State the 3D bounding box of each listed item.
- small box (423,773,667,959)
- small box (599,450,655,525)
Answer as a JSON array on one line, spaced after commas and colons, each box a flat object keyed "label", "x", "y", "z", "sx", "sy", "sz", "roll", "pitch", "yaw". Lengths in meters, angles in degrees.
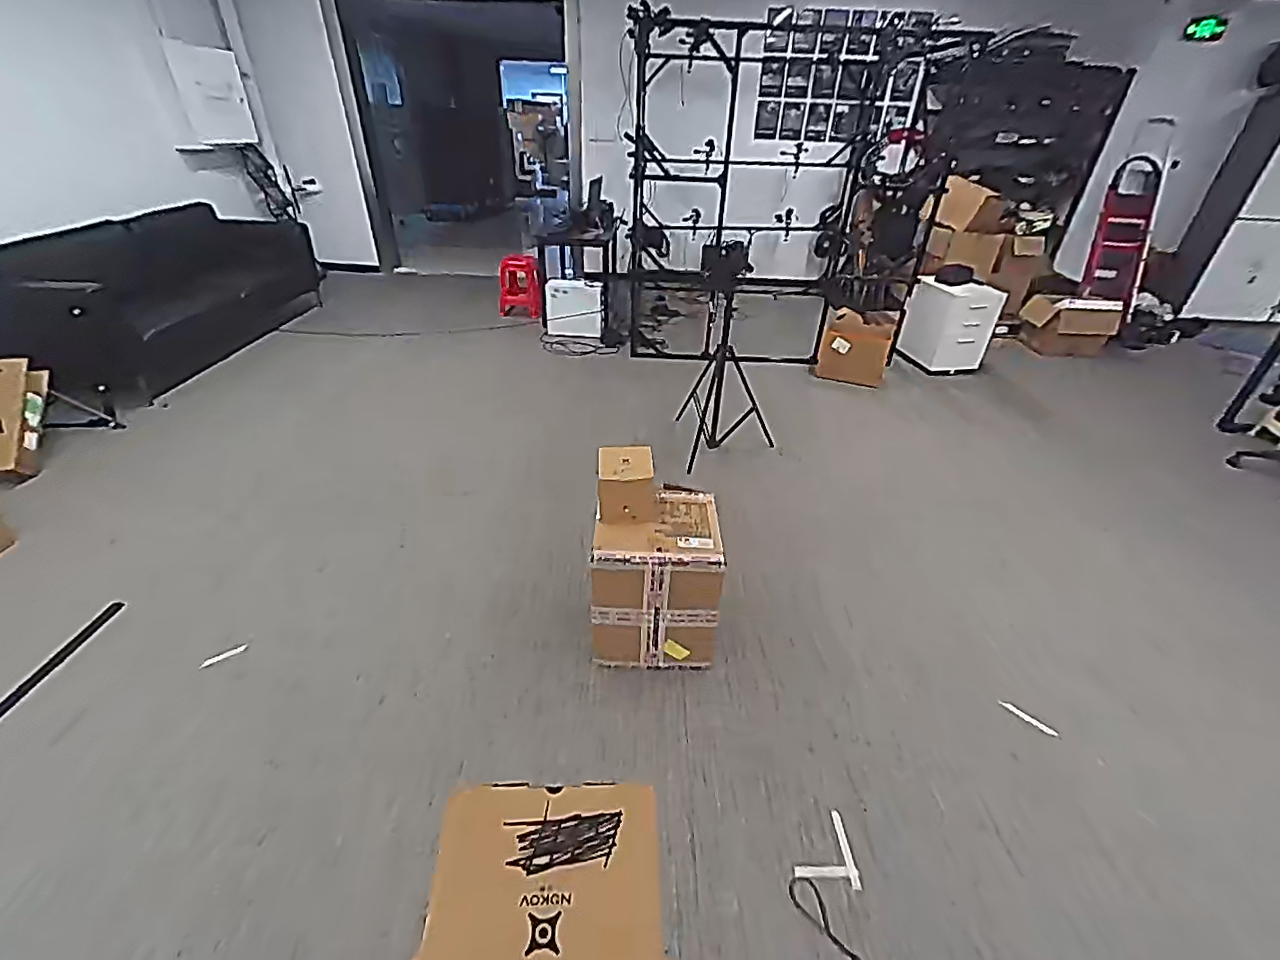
[{"label": "small box", "x": -0.071, "y": 0.361, "z": 0.435, "sx": 0.168, "sy": 0.176, "sz": 0.179, "roll": 2, "pitch": 41, "yaw": -5}, {"label": "small box", "x": -0.043, "y": 0.023, "z": 1.690, "sx": 0.168, "sy": 0.176, "sz": 0.179, "roll": -2, "pitch": 36, "yaw": -2}]
